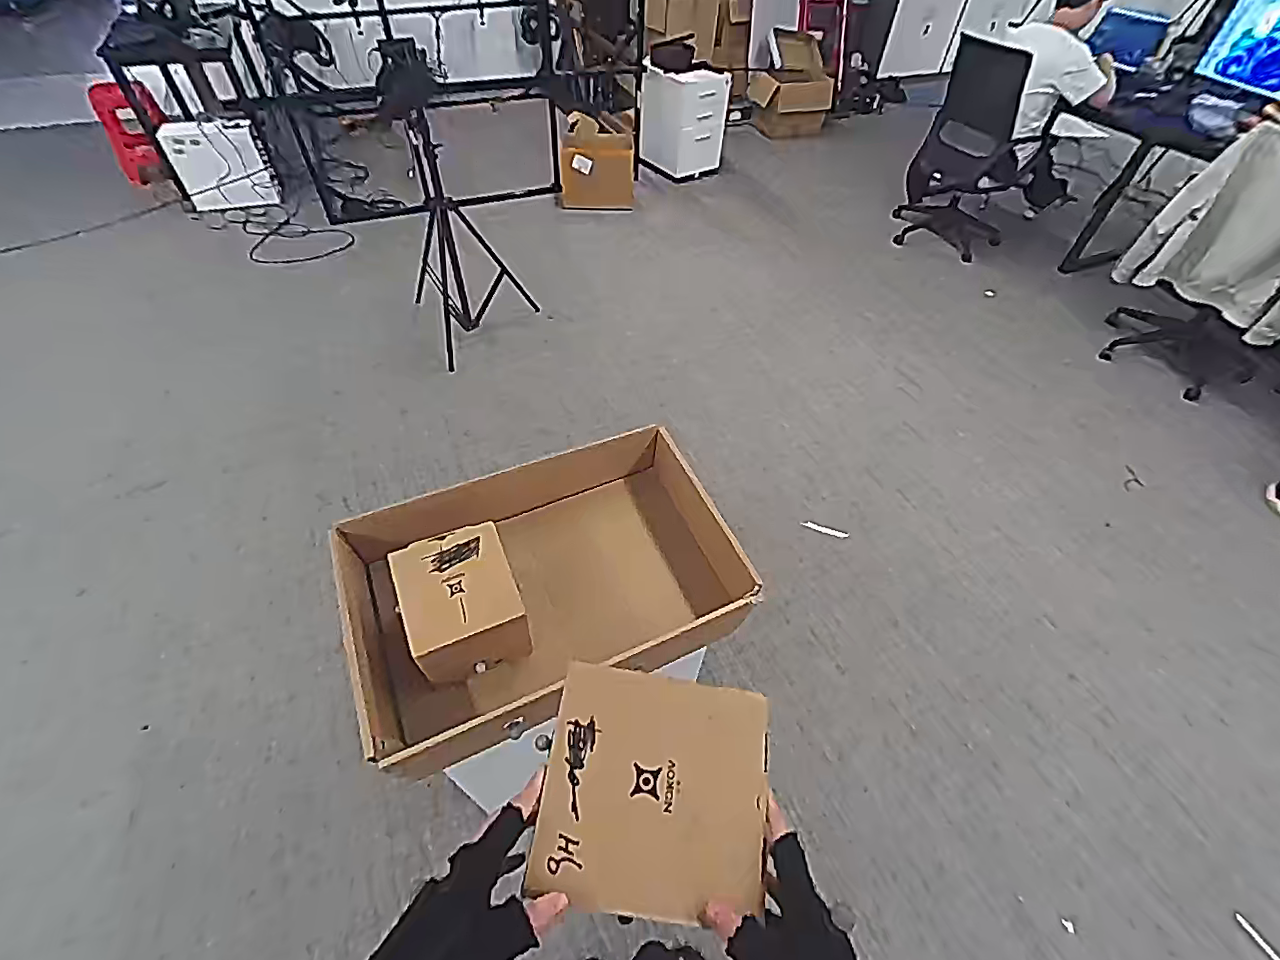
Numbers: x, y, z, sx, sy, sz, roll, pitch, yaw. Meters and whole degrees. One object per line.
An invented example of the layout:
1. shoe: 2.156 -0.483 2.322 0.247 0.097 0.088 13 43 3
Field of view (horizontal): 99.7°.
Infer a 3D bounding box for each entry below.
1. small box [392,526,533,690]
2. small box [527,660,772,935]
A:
1. small box: -0.280 0.209 0.874 0.168 0.176 0.179 -19 58 -19
2. small box: 0.007 0.280 0.488 0.179 0.176 0.168 11 55 -1
